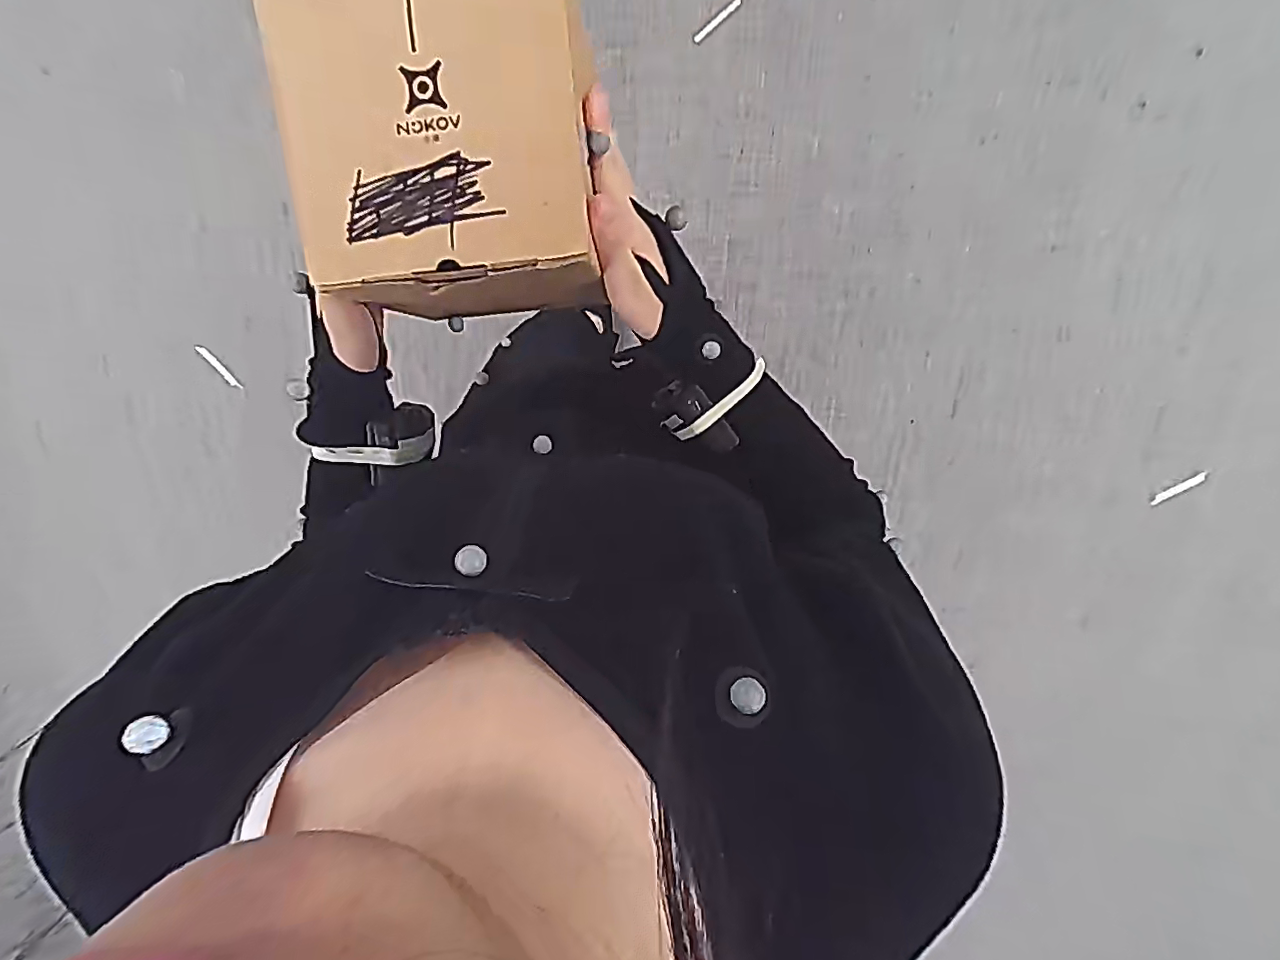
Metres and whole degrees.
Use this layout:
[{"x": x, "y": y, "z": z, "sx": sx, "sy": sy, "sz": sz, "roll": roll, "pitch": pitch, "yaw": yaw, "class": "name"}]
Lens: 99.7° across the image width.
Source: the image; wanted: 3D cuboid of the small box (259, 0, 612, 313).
[{"x": -0.114, "y": -0.217, "z": 0.374, "sx": 0.168, "sy": 0.176, "sz": 0.179, "roll": -5, "pitch": 99, "yaw": 3, "class": "small box"}]
